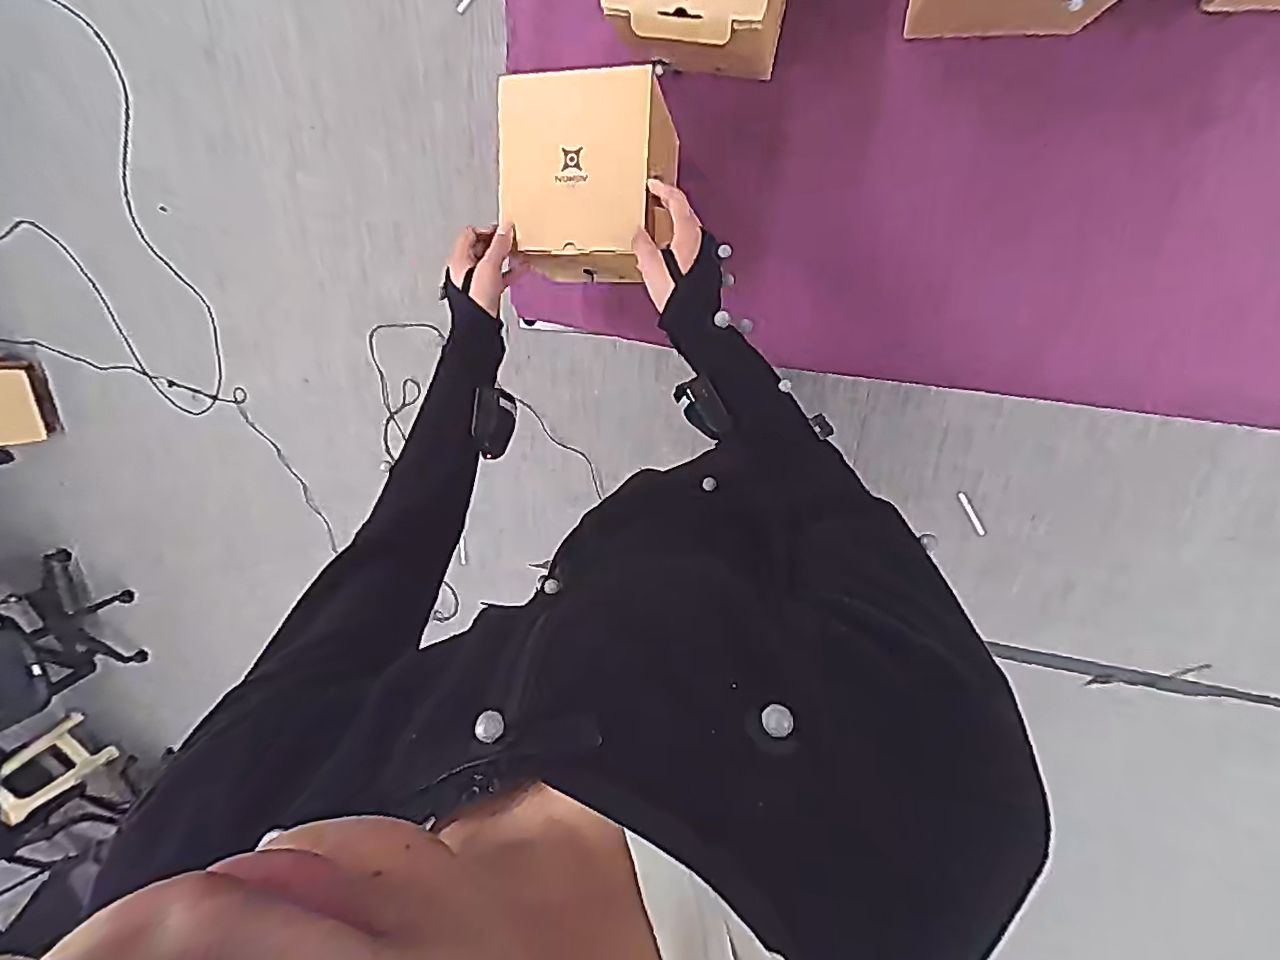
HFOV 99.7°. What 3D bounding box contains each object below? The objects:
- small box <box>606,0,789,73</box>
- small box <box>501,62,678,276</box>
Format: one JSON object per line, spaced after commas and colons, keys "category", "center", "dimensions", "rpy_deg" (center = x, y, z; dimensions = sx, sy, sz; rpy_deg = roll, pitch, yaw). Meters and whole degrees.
{"category": "small box", "center": [0.076, -0.554, 0.558], "dimensions": [0.168, 0.176, 0.179], "rpy_deg": [14, 114, 9]}
{"category": "small box", "center": [-0.050, -0.345, 0.631], "dimensions": [0.168, 0.176, 0.179], "rpy_deg": [5, 104, 11]}
